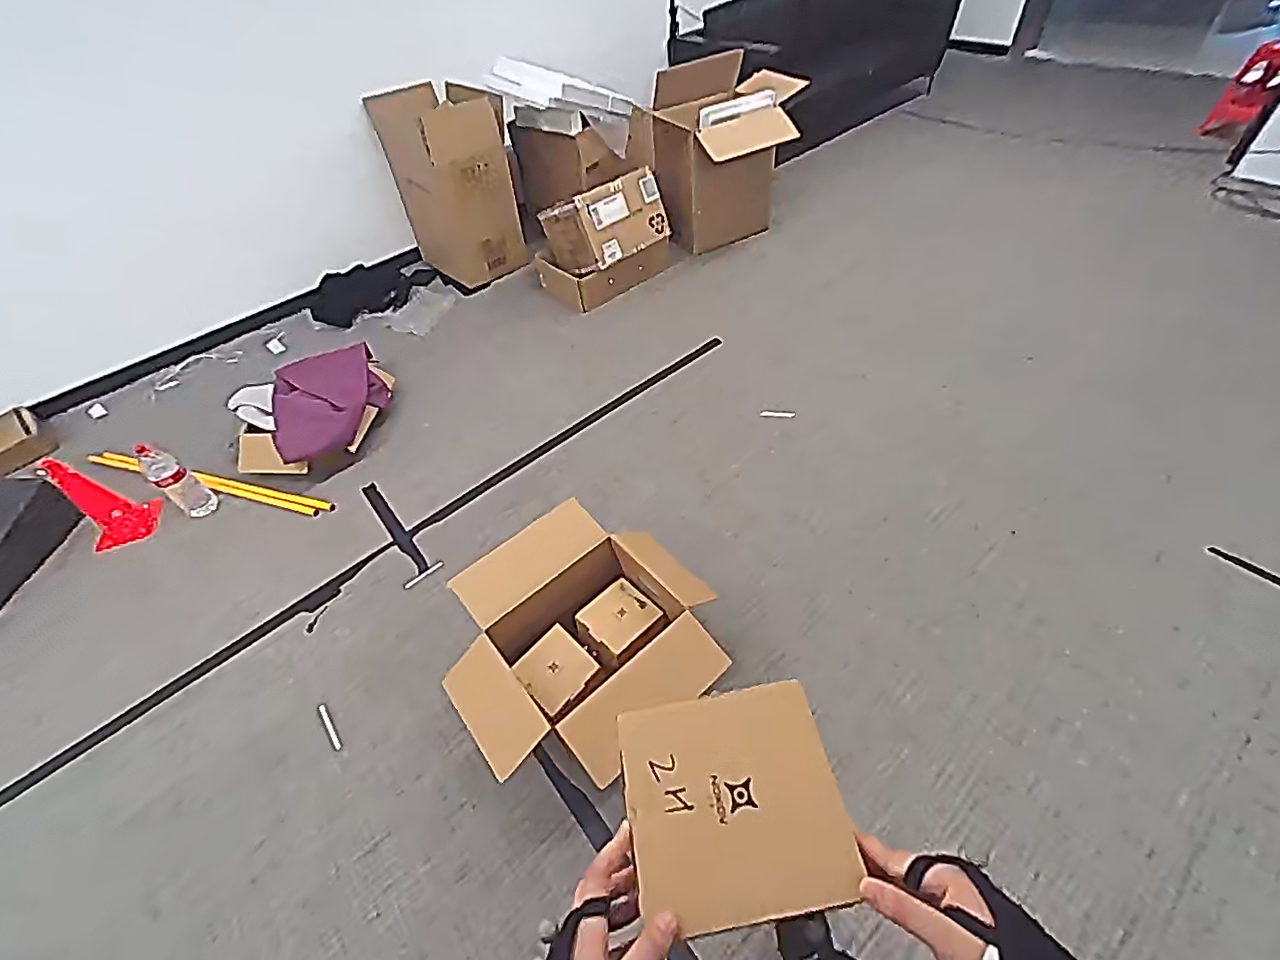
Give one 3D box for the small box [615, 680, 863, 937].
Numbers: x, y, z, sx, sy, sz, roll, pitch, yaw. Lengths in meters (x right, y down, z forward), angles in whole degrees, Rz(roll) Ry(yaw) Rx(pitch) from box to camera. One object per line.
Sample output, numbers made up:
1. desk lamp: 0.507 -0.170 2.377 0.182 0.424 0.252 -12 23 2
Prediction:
1. small box: 0.080 0.313 0.515 0.179 0.176 0.168 -11 49 -1
